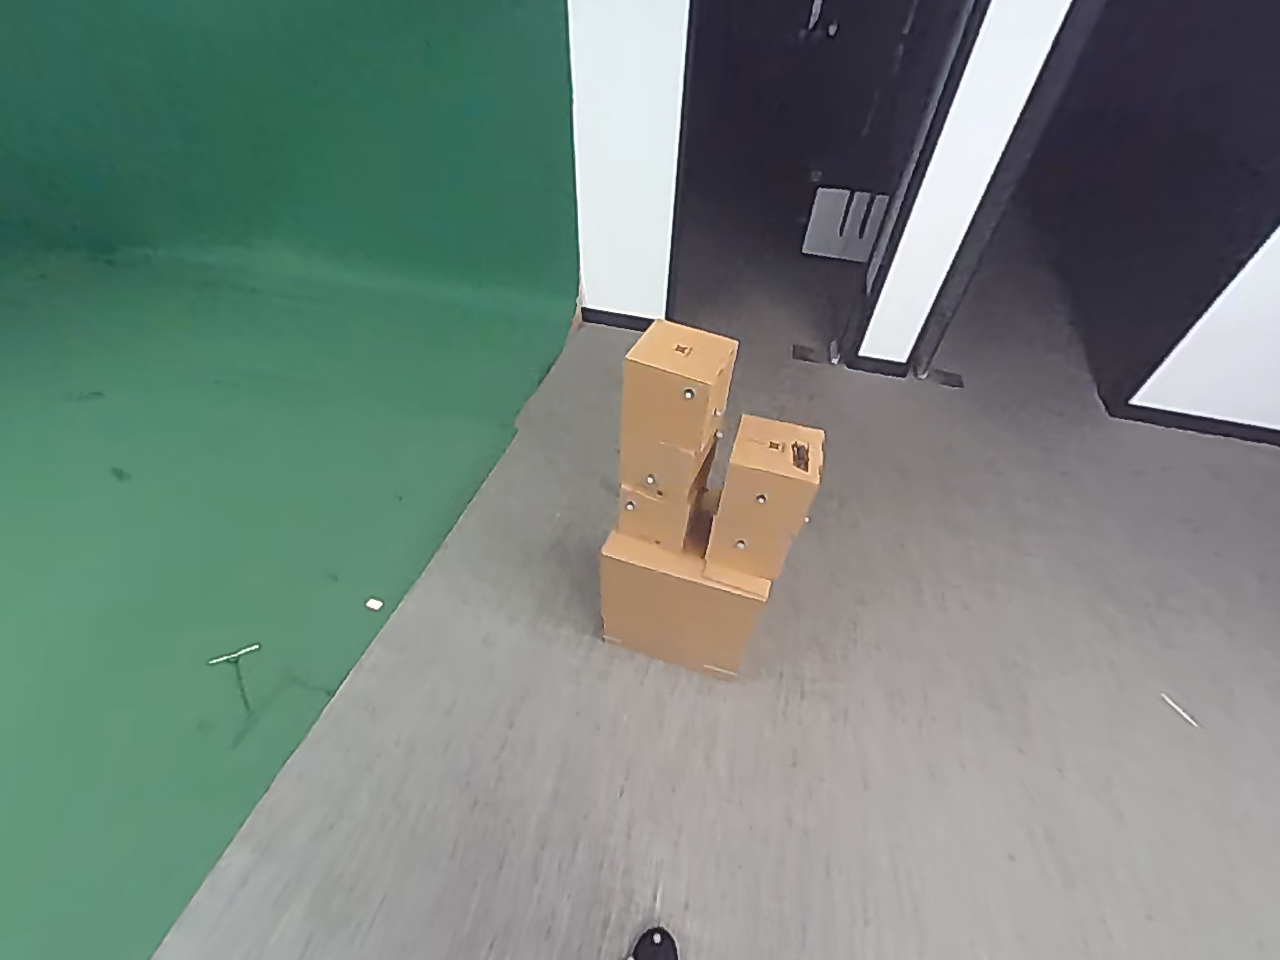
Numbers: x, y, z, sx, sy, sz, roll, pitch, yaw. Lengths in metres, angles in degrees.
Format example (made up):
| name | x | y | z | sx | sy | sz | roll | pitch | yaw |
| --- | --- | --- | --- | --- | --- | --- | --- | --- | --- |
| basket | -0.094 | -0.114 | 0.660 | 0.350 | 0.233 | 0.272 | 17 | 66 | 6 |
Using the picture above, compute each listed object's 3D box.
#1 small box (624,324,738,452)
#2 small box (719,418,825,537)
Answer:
| name | x | y | z | sx | sy | sz | roll | pitch | yaw |
| --- | --- | --- | --- | --- | --- | --- | --- | --- | --- |
| small box | 0.077 | -0.182 | 1.081 | 0.179 | 0.176 | 0.168 | 20 | 48 | 14 |
| small box | 0.275 | -0.002 | 1.144 | 0.179 | 0.176 | 0.168 | 13 | 47 | 12 |
